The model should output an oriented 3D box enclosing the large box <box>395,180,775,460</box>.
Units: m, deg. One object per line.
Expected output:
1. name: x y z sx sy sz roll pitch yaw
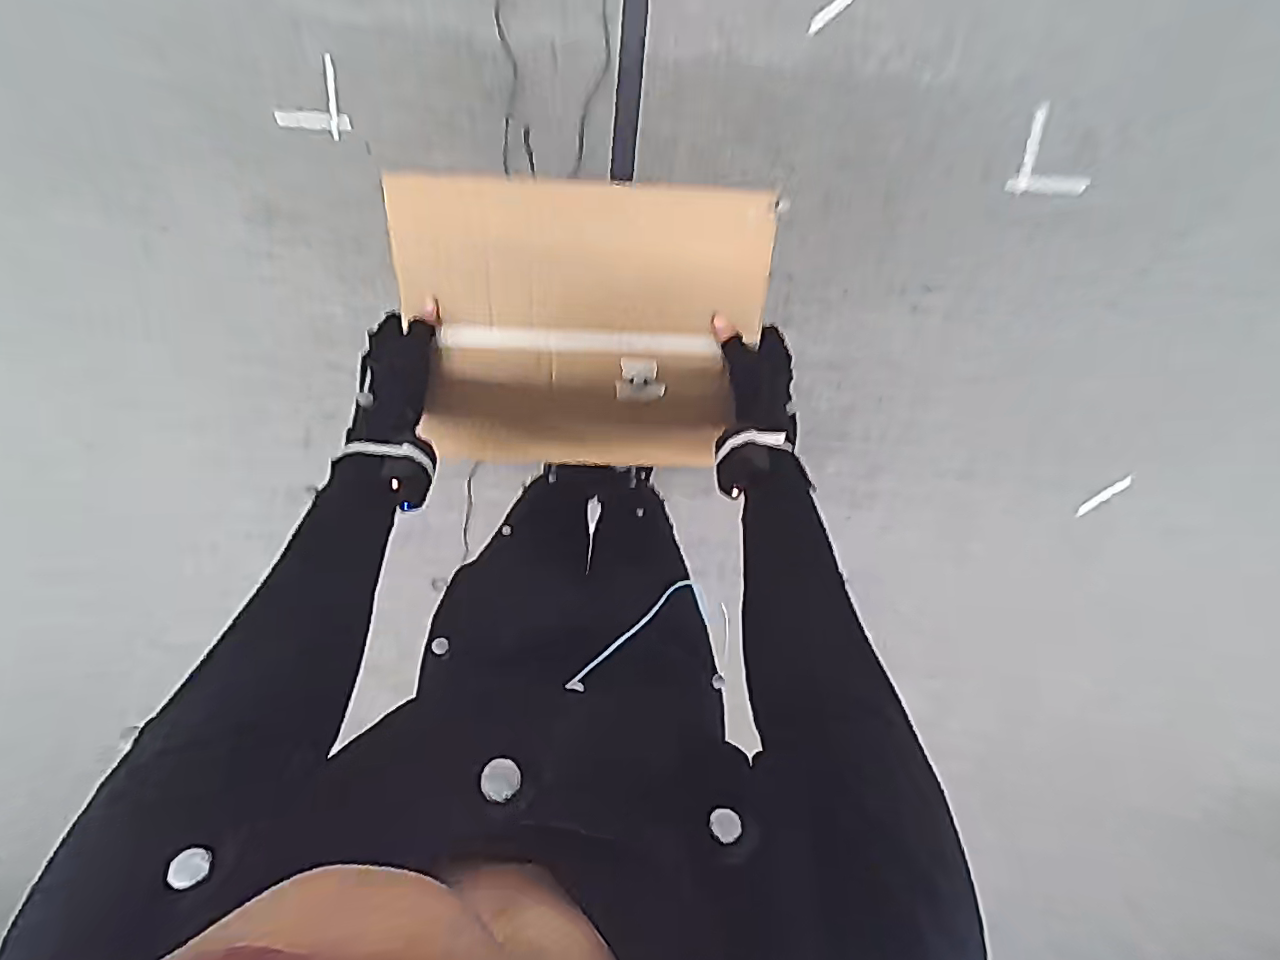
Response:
1. large box: -0.065 -0.229 0.758 0.408 0.320 0.320 1 117 -2
